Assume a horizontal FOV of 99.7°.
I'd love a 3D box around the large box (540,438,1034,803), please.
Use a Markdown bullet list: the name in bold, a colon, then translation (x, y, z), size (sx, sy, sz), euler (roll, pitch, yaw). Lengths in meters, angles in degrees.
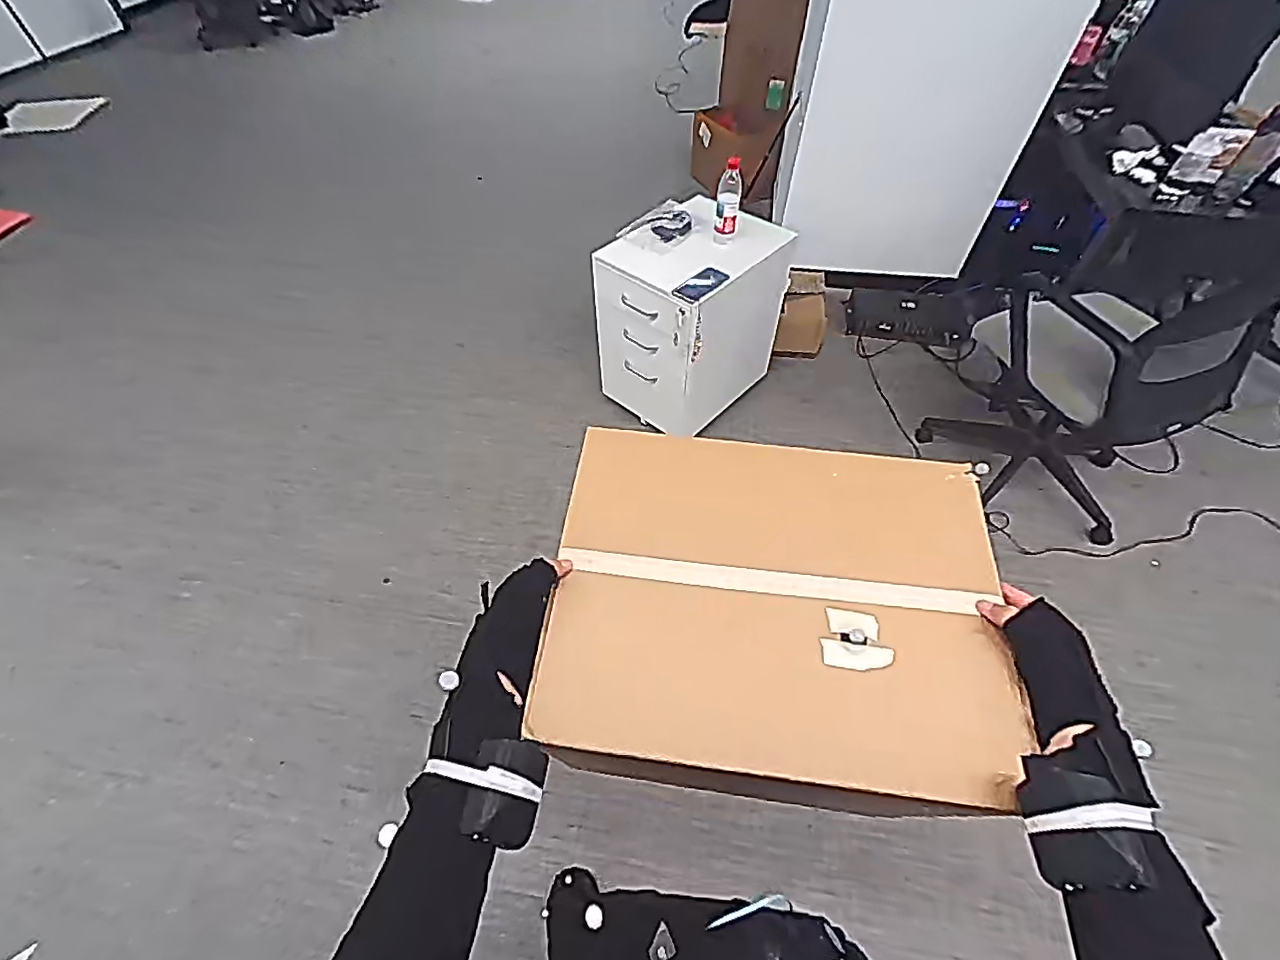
- **large box**: translation (0.127, 0.177, 0.635), size (0.408, 0.320, 0.320), euler (6, 59, 3)
